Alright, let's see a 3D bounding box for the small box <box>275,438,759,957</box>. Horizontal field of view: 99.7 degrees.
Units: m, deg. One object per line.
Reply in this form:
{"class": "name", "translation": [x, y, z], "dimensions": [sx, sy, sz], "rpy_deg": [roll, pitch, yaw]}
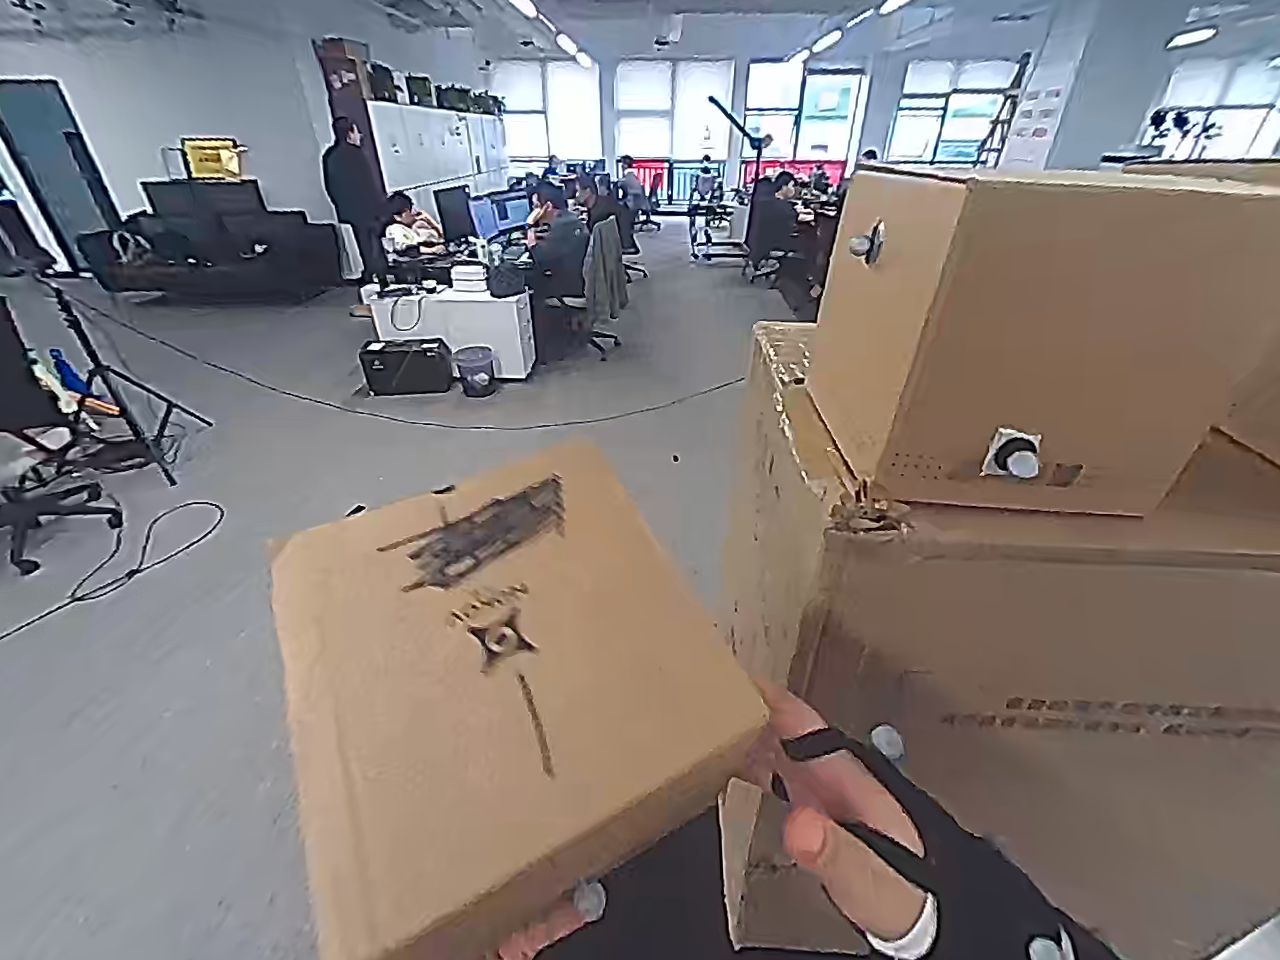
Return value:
{"class": "small box", "translation": [-0.064, 0.113, 0.293], "dimensions": [0.168, 0.176, 0.179], "rpy_deg": [-22, 53, -18]}

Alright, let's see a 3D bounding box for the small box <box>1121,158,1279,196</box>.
{"class": "small box", "translation": [0.542, -0.187, 0.484], "dimensions": [0.168, 0.176, 0.179], "rpy_deg": [0, 29, 2]}

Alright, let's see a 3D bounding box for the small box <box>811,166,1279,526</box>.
{"class": "small box", "translation": [0.219, -0.092, 0.340], "dimensions": [0.168, 0.176, 0.179], "rpy_deg": [2, 33, 1]}
